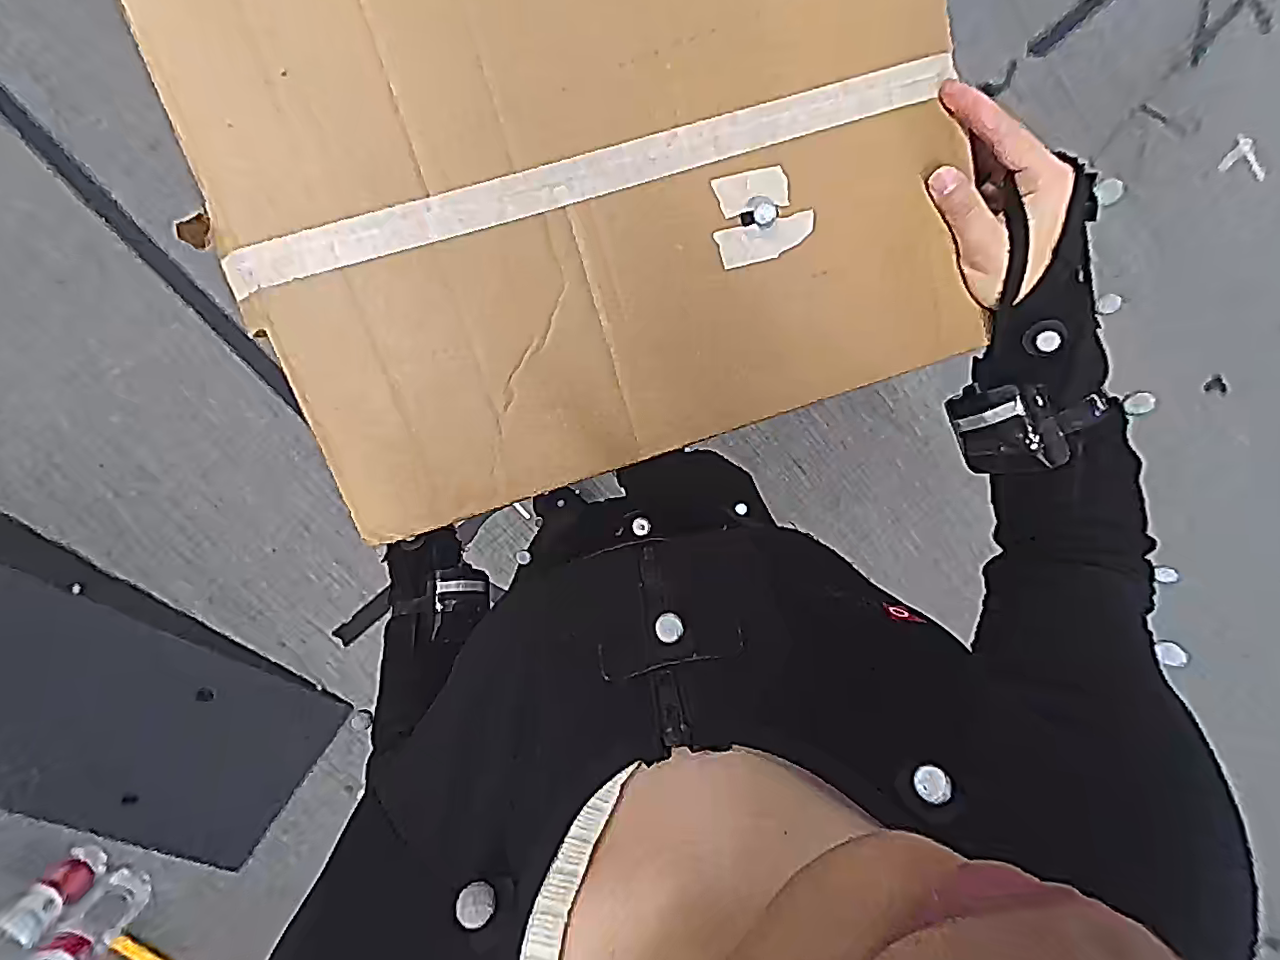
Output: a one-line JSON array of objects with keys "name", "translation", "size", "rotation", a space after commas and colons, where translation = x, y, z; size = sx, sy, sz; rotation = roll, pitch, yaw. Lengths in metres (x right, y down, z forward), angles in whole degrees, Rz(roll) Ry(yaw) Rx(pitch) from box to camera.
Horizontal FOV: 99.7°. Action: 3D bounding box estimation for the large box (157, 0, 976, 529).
[{"name": "large box", "translation": [-0.032, -0.200, 0.448], "size": [0.408, 0.320, 0.320], "rotation": [-19, 104, -7]}]
